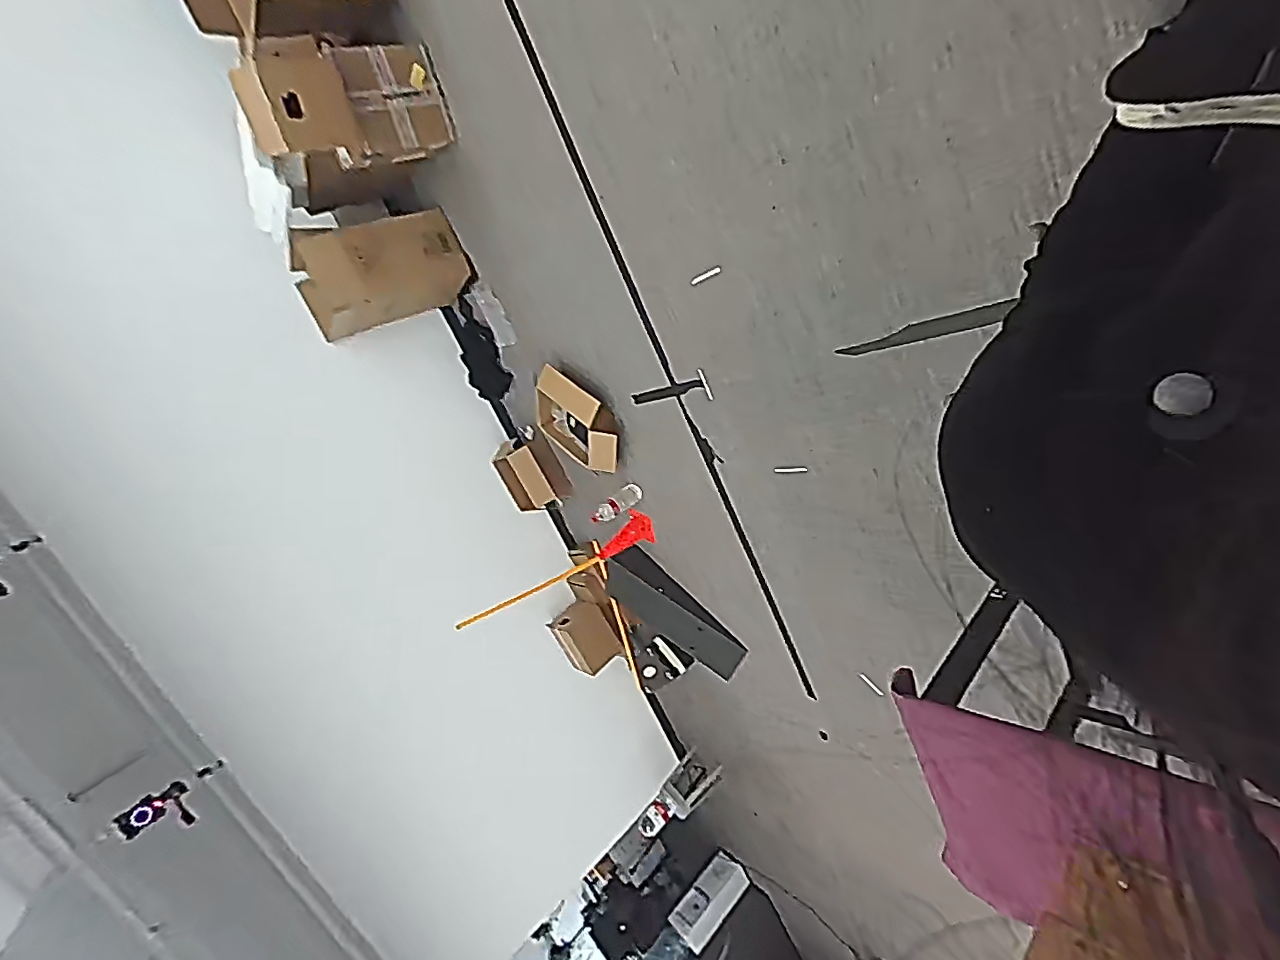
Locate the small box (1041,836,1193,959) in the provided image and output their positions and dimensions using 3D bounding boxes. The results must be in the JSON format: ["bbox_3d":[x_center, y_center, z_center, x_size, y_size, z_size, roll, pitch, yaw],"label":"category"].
[{"bbox_3d":[0.830,0.781,0.939,0.168,0.176,0.179,6,124,52],"label":"small box"}]
